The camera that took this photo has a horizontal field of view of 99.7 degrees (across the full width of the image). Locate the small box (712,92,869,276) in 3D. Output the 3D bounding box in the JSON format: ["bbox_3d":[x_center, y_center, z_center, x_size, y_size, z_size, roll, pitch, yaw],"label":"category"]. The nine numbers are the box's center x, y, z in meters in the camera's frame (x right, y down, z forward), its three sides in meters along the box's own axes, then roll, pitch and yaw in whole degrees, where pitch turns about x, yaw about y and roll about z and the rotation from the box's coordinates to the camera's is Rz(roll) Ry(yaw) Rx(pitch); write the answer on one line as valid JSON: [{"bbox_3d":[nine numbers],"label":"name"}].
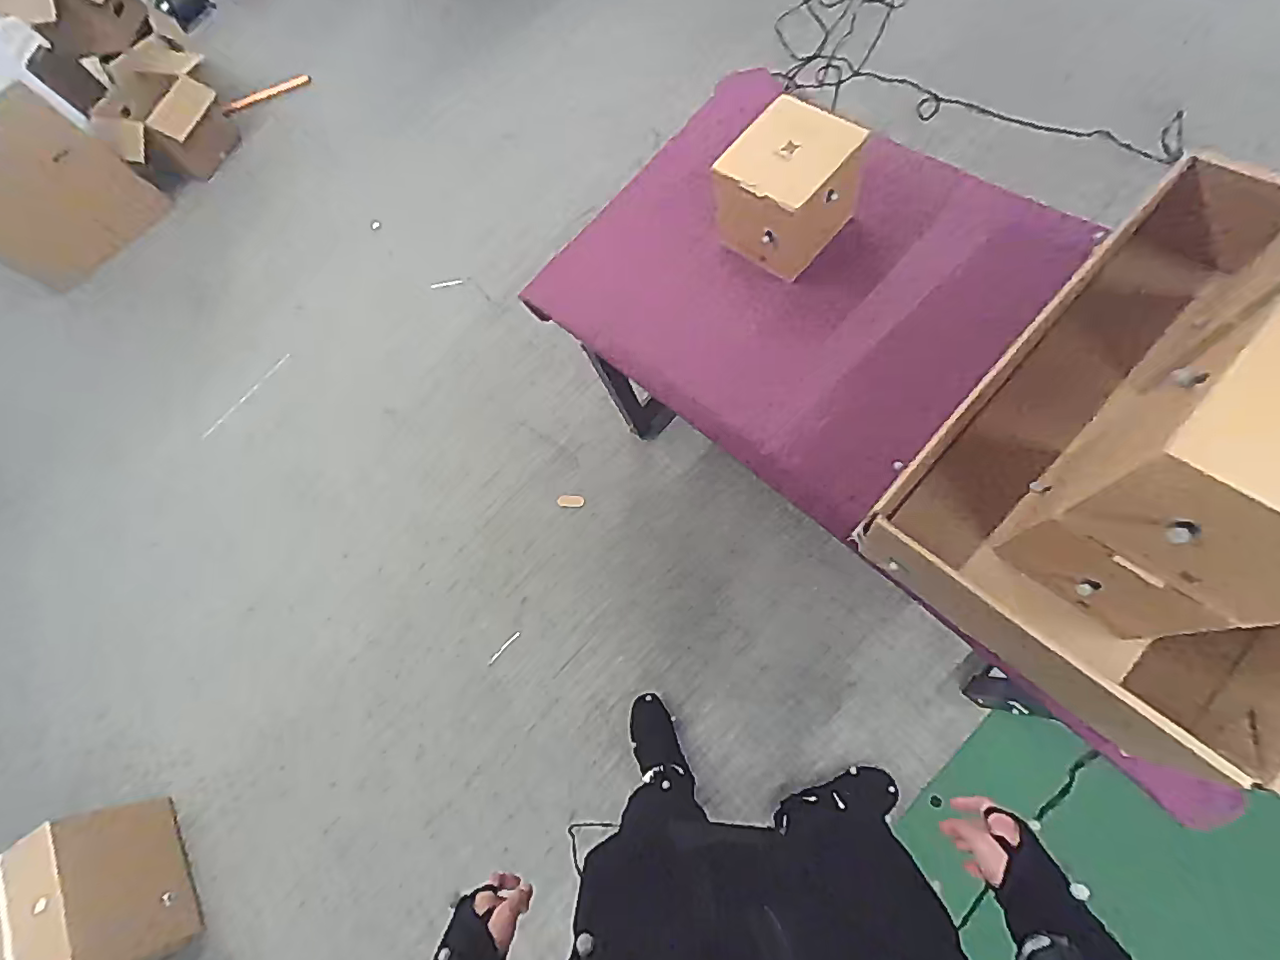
[{"bbox_3d":[0.244,-0.477,0.894,0.168,0.176,0.179,41,85,21],"label":"small box"}]

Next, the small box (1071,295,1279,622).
[{"bbox_3d":[0.506,-0.006,0.441,0.168,0.176,0.179,40,83,23],"label":"small box"}]

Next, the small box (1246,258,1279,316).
[{"bbox_3d":[0.704,-0.209,0.459,0.168,0.176,0.179,39,86,23],"label":"small box"}]
